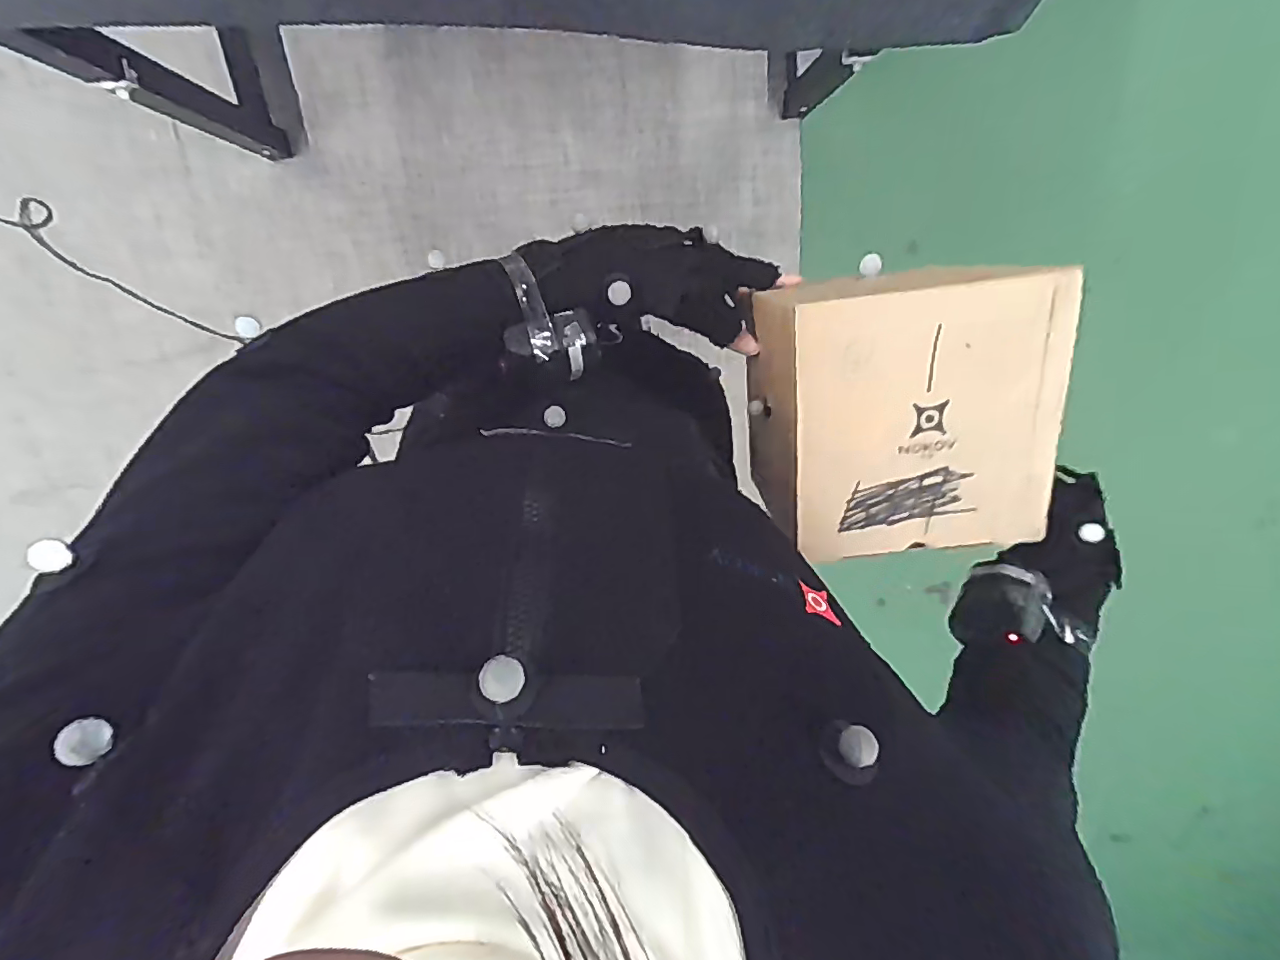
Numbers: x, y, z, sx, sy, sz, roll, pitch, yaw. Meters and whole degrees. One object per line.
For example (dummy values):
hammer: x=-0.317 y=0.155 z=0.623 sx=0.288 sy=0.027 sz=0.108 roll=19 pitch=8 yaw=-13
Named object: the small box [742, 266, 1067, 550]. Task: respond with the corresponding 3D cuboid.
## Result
small box: x=0.176 y=-0.066 z=0.423 sx=0.168 sy=0.176 sz=0.179 roll=-6 pitch=111 yaw=2
